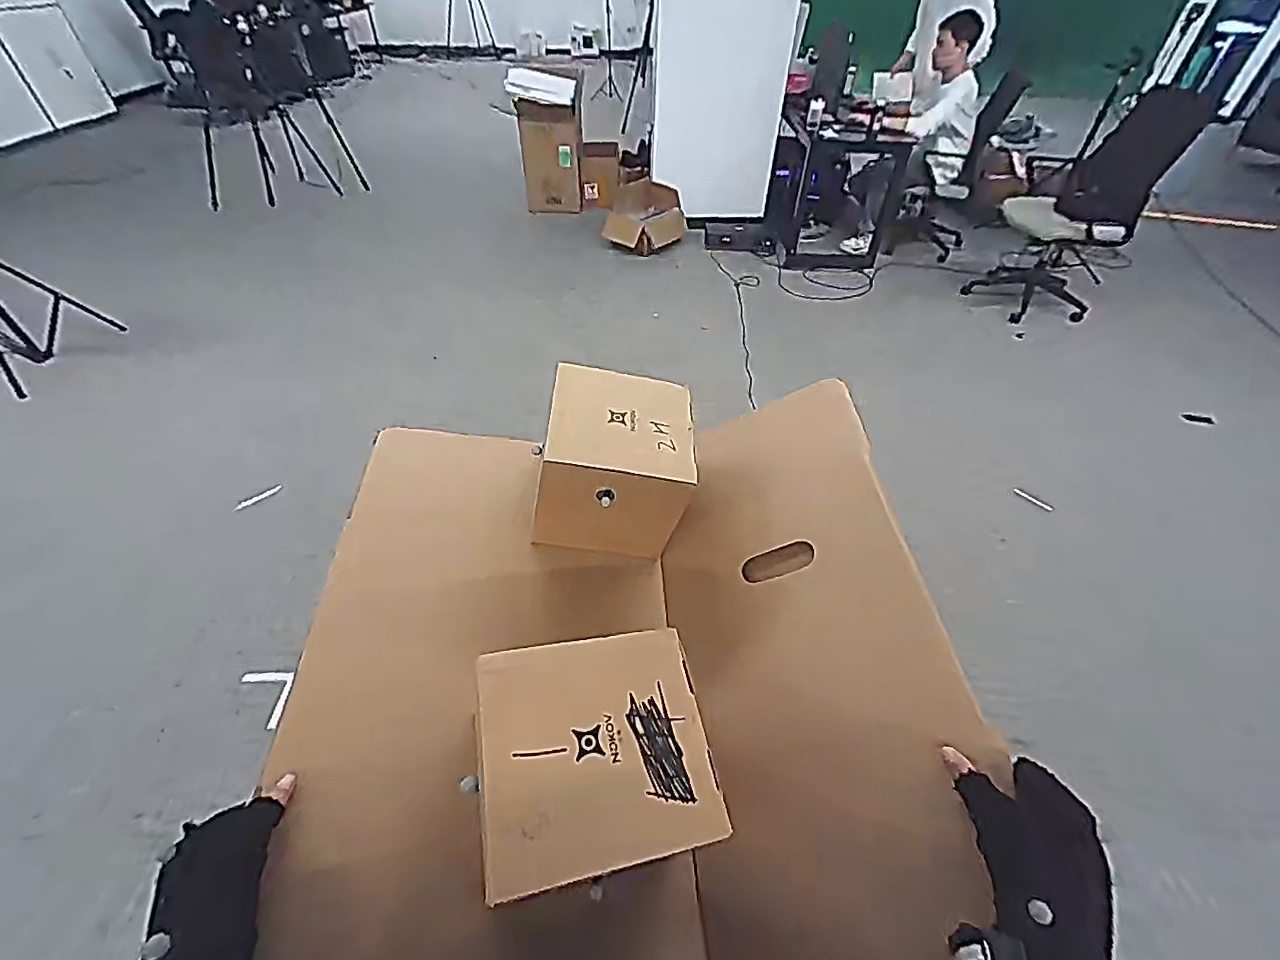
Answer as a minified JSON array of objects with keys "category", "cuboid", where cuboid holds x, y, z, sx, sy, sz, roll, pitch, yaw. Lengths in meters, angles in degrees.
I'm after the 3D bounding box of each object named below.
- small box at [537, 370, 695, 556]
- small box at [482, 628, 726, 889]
[{"category":"small box","cuboid":[-0.037,-0.016,0.718,0.179,0.176,0.168,10,50,-10]},{"category":"small box","cuboid":[-0.050,0.253,0.495,0.179,0.176,0.168,-3,53,-18]}]
